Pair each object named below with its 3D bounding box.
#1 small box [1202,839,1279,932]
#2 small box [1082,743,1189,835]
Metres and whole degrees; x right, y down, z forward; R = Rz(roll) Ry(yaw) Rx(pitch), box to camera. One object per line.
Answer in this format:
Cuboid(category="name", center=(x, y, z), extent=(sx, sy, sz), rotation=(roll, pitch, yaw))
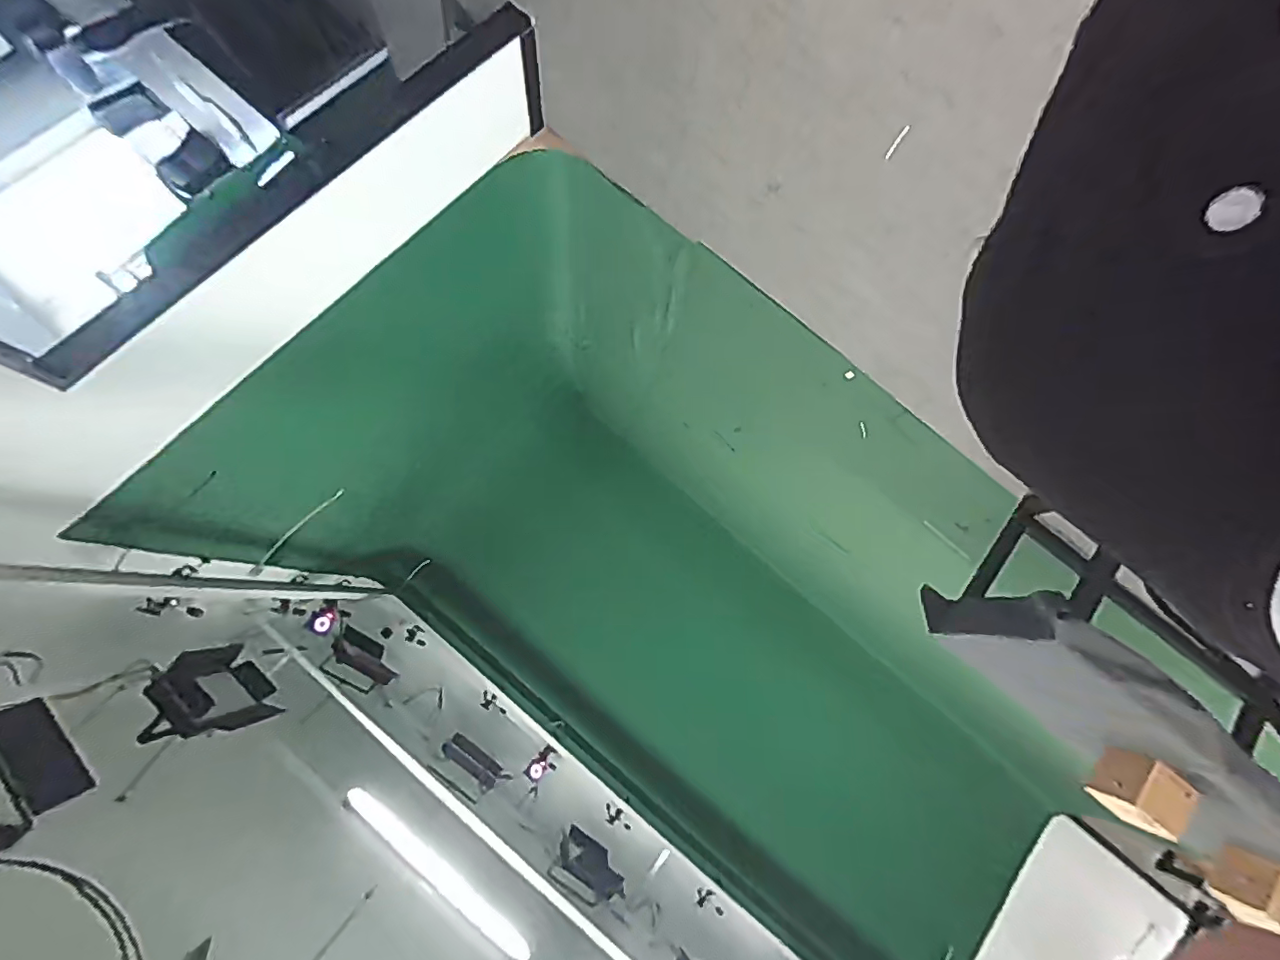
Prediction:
Cuboid(category="small box", center=(1.958, 1.282, 1.702), extent=(0.168, 0.176, 0.179), rotation=(41, 166, 5))
Cuboid(category="small box", center=(1.594, 0.979, 1.734), extent=(0.168, 0.176, 0.179), rotation=(40, 167, 3))
